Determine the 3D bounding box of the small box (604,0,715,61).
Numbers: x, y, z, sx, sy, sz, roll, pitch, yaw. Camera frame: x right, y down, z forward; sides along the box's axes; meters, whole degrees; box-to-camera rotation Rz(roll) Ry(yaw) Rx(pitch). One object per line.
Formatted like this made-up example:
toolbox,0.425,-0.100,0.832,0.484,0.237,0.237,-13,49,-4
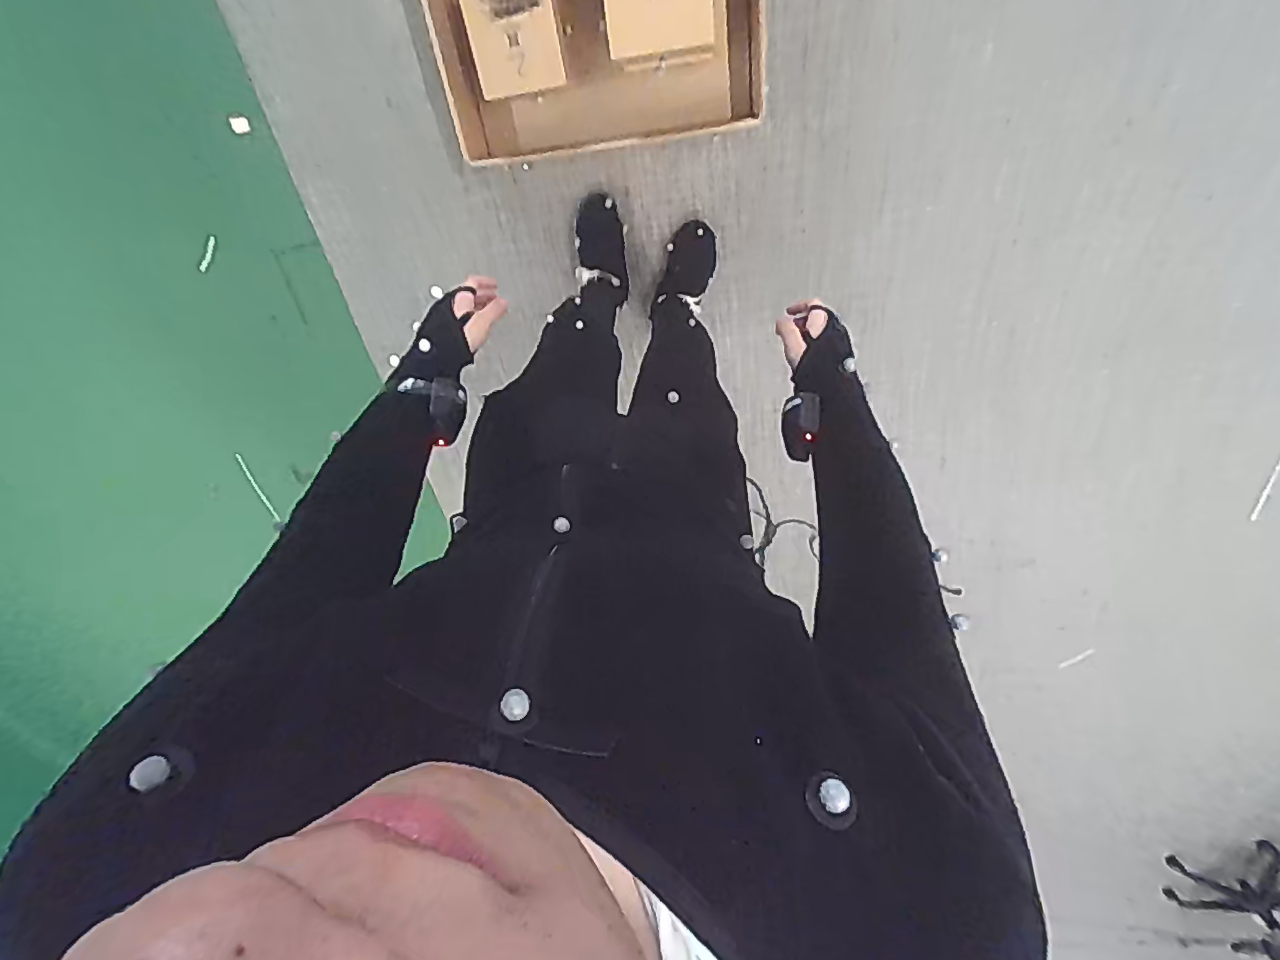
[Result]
small box,0.034,-0.784,0.858,0.168,0.176,0.179,-1,124,9

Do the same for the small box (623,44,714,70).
small box,0.050,-0.875,0.996,0.168,0.176,0.179,-2,124,9
